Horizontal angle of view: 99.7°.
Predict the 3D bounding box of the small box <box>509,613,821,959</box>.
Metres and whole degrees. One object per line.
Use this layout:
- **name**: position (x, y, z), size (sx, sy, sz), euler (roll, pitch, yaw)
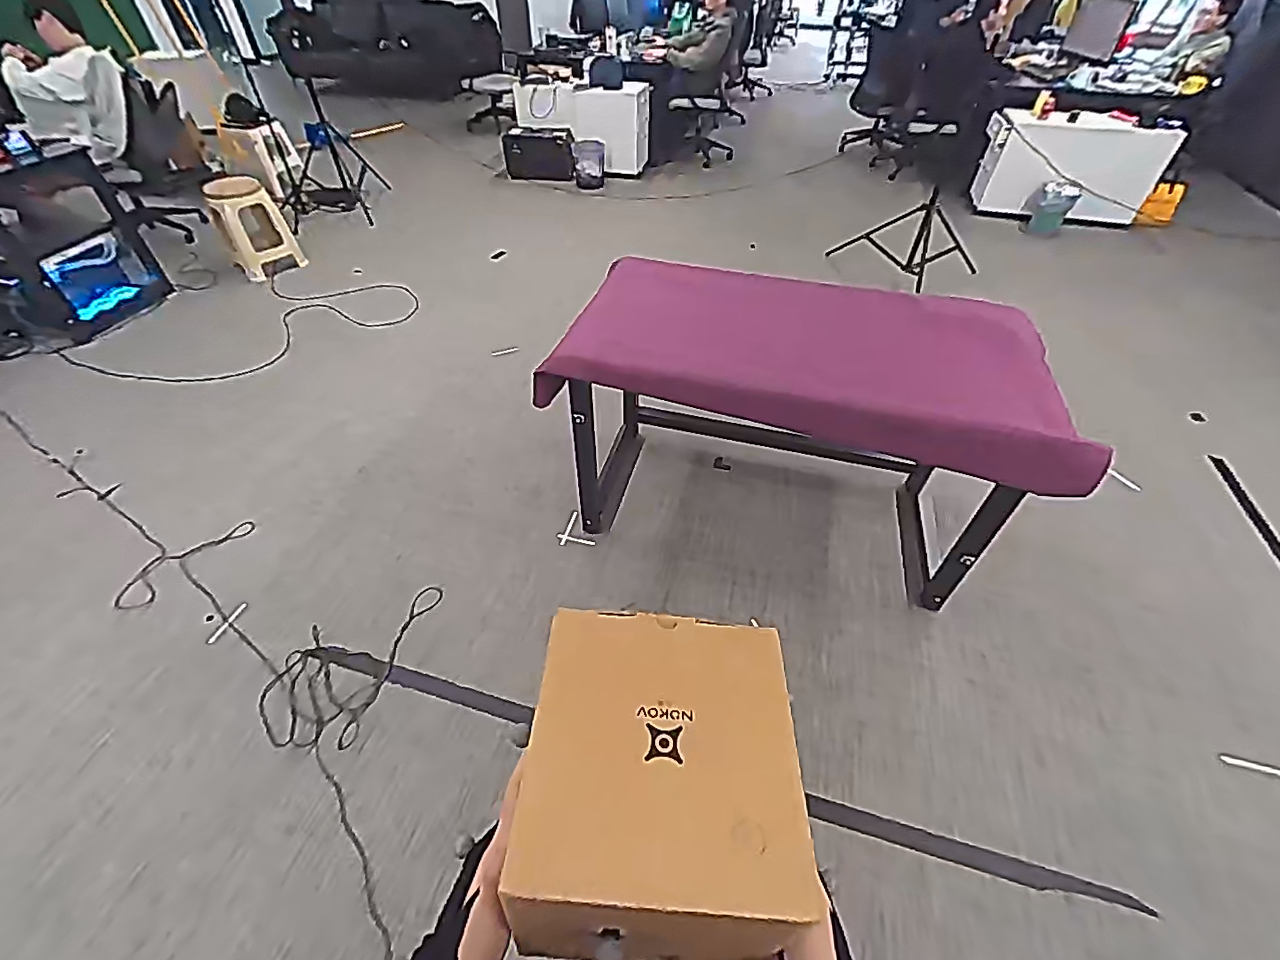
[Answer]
- **small box**: position (0.012, 0.223, 0.391), size (0.168, 0.176, 0.179), euler (5, 39, -1)
